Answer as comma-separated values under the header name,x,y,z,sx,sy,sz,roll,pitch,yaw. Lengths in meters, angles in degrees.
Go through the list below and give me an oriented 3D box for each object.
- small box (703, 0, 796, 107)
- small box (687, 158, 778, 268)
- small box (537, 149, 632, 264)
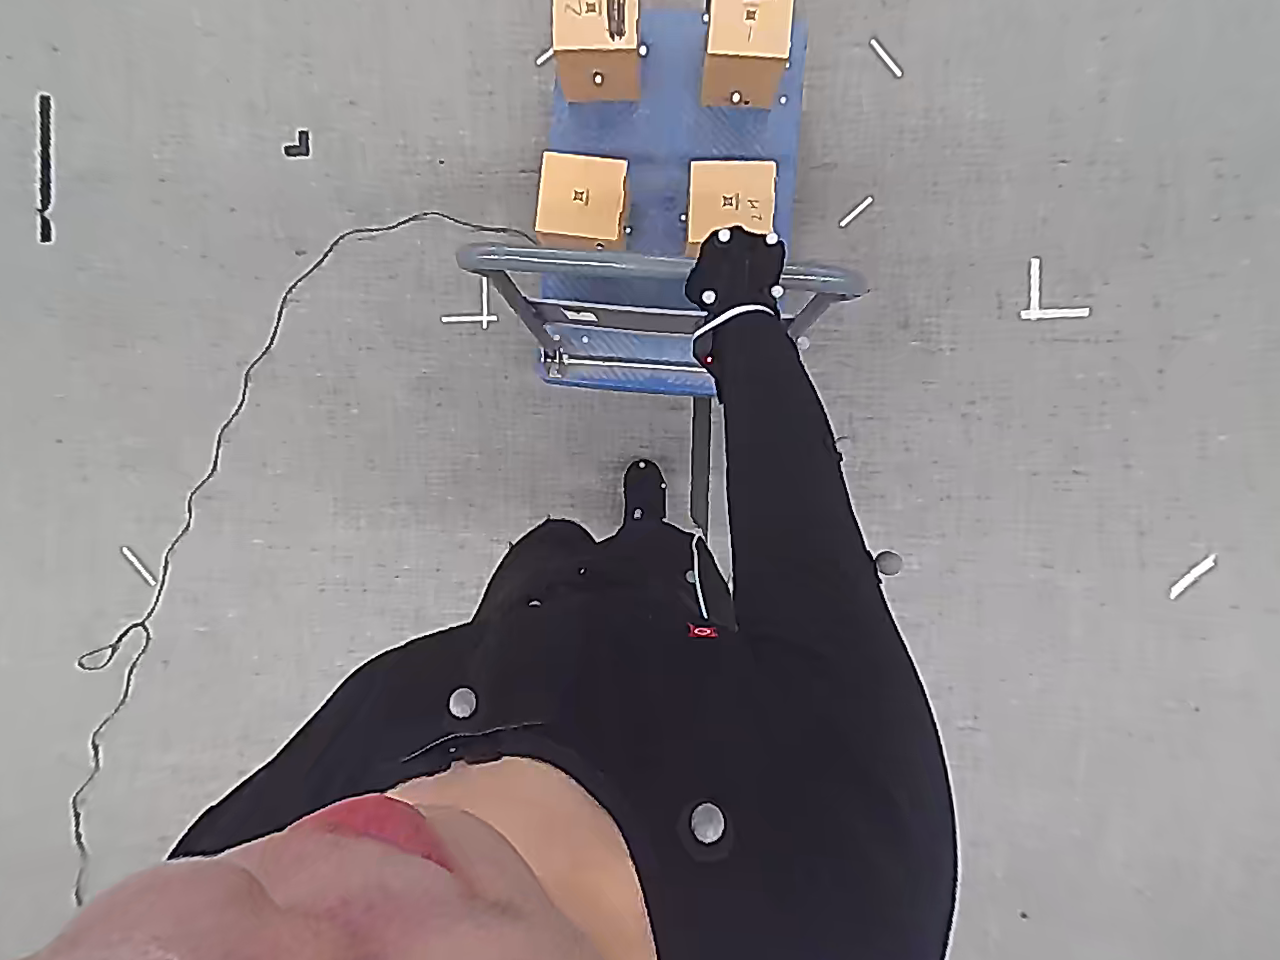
name,x,y,z,sx,sy,sz,roll,pitch,yaw
small box,0.230,-0.948,1.160,0.168,0.176,0.179,5,94,2
small box,0.194,-0.573,1.178,0.179,0.176,0.168,2,93,2
small box,-0.115,-0.592,1.190,0.179,0.176,0.168,7,93,0
